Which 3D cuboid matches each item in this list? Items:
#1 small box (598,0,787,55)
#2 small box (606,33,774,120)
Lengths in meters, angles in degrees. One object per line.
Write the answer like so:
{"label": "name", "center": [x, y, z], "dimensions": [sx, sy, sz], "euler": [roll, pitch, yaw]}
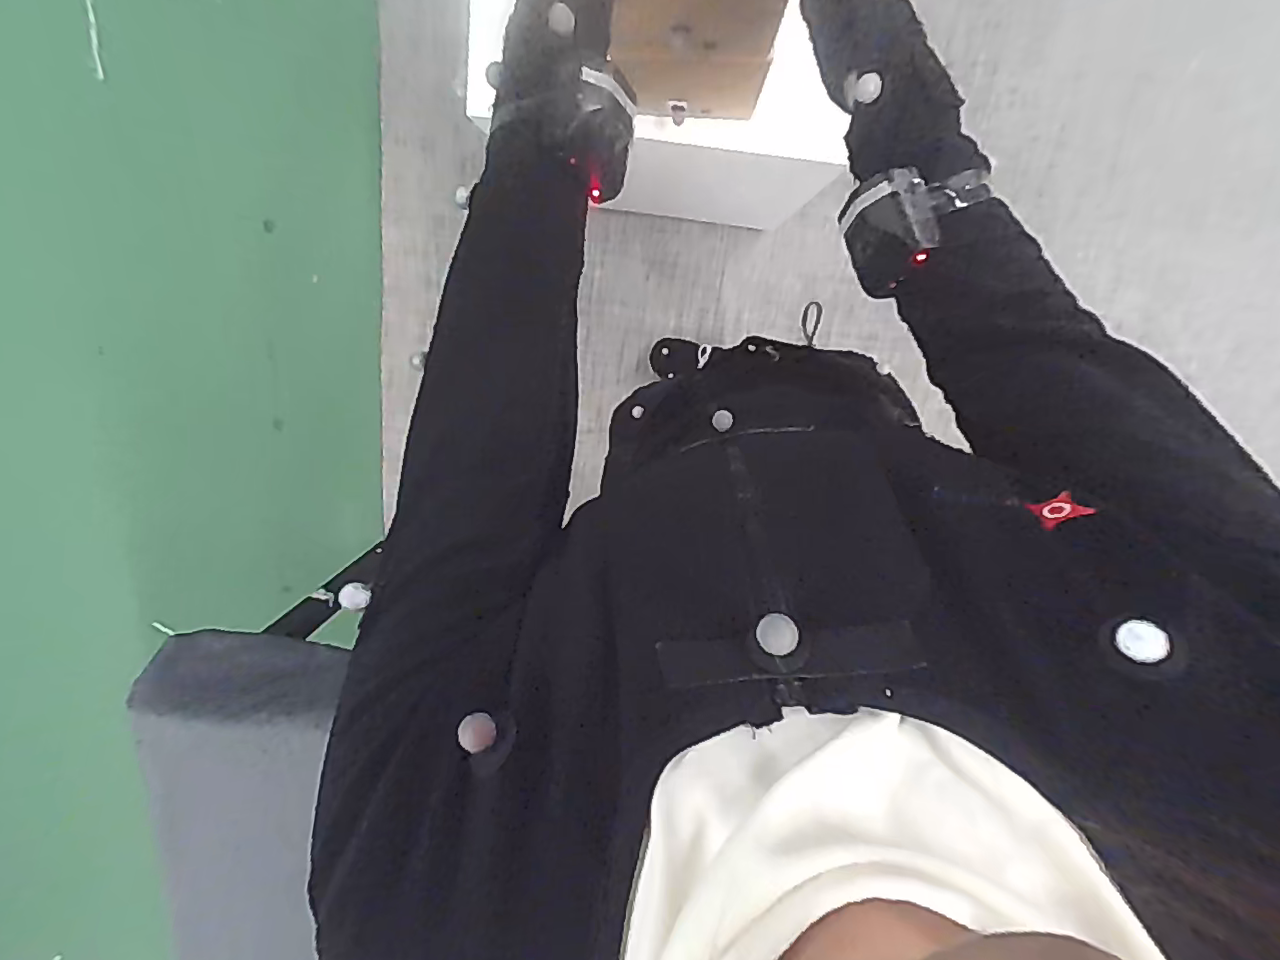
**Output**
{"label": "small box", "center": [0.043, -0.479, 0.426], "dimensions": [0.168, 0.176, 0.179], "euler": [2, 105, 4]}
{"label": "small box", "center": [0.059, -0.521, 0.584], "dimensions": [0.168, 0.176, 0.179], "euler": [4, 108, 4]}
